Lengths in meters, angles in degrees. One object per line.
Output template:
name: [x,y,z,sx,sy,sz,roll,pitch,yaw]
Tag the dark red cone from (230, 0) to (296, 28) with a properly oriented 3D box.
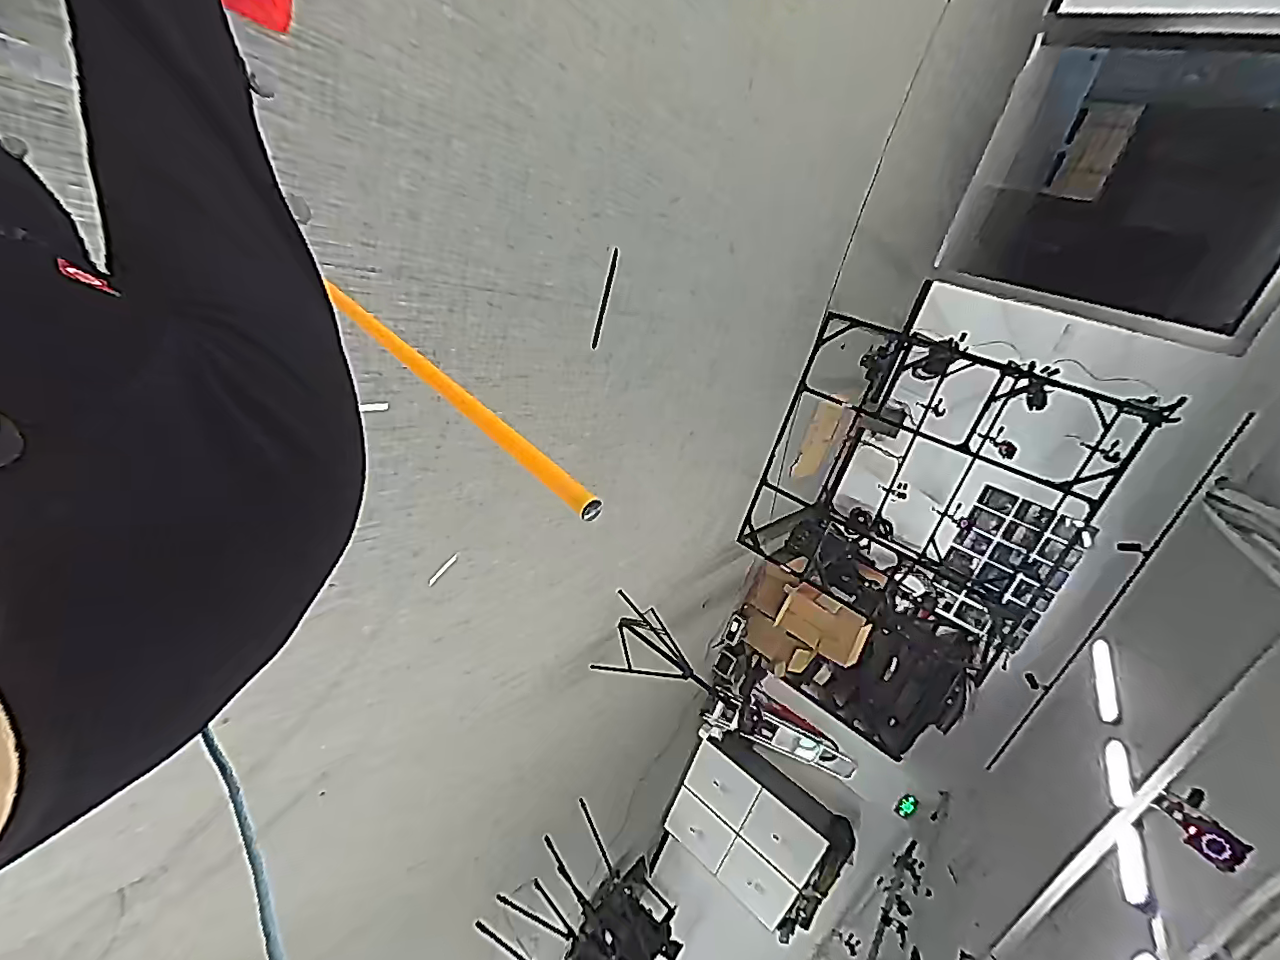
dark red cone: [-0.597,-0.898,0.889,0.201,0.394,0.202,-14,128,-54]
